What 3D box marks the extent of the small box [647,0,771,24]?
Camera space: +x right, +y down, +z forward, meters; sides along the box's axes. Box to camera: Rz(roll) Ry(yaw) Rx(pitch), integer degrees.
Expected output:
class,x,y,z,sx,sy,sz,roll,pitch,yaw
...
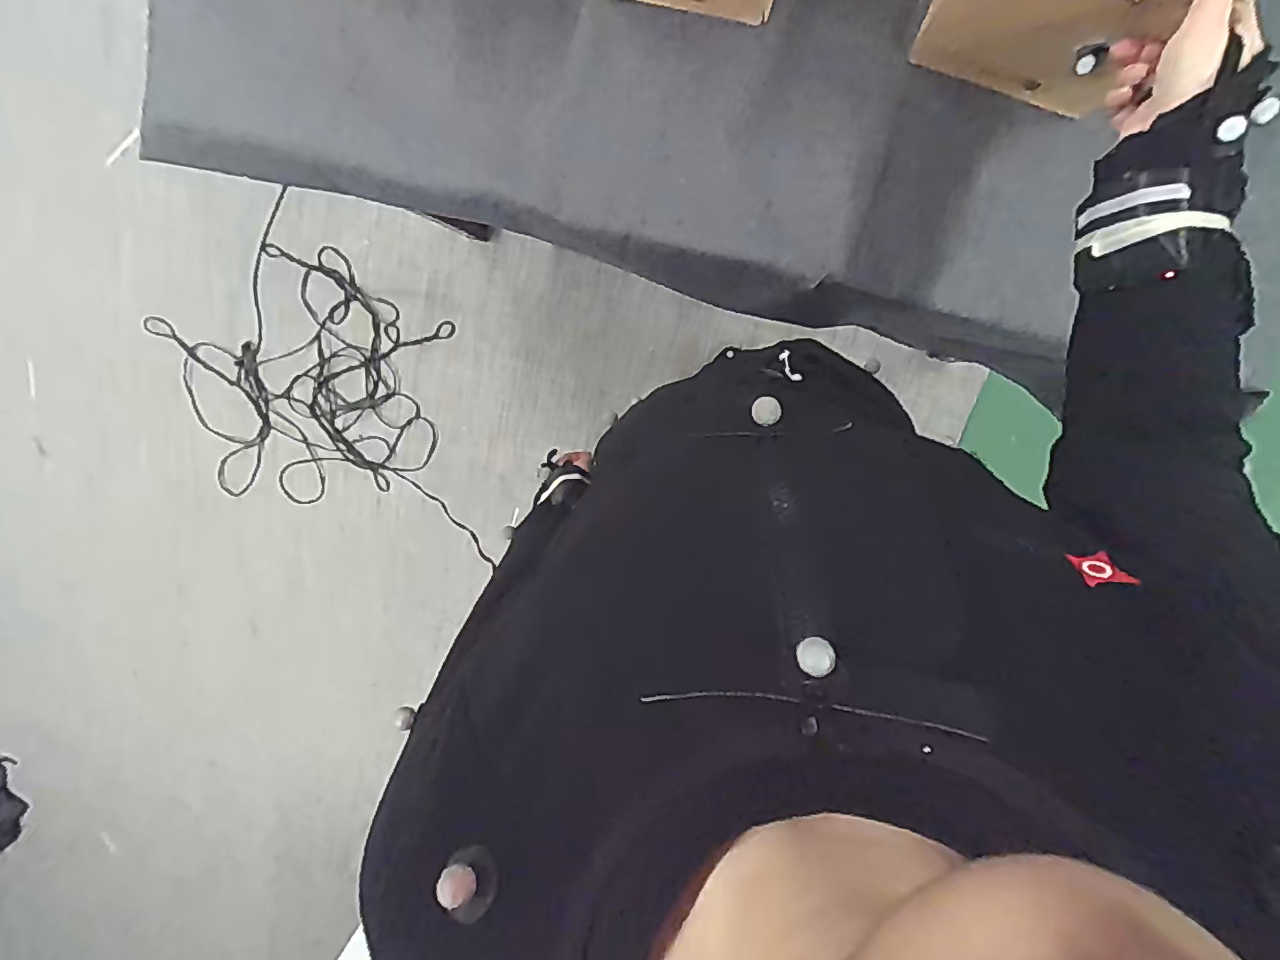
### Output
class,x,y,z,sx,sy,sz,roll,pitch,yaw
small box,0.051,-0.513,0.417,0.168,0.176,0.179,16,106,5

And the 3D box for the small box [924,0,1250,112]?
class,x,y,z,sx,sy,sz,roll,pitch,yaw
small box,0.340,-0.413,0.394,0.168,0.176,0.179,22,104,2
